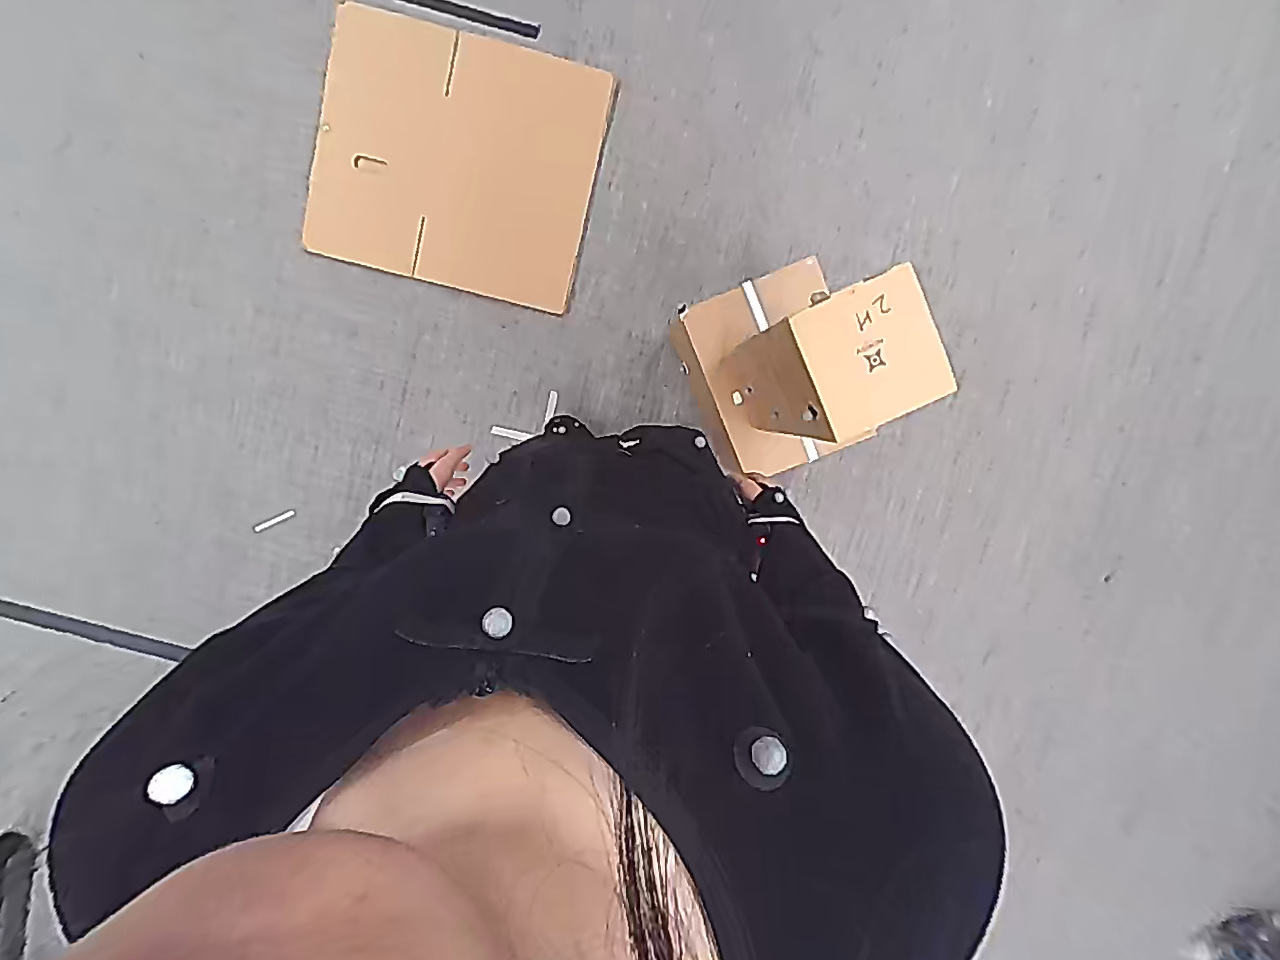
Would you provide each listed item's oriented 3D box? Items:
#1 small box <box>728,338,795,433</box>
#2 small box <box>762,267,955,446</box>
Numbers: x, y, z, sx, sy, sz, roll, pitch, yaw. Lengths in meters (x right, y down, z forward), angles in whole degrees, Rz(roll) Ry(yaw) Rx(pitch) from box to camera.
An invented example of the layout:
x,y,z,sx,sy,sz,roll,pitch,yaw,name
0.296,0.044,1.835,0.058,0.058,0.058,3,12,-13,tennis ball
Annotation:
x,y,z,sx,sy,sz,roll,pitch,yaw,name
0.290,-0.206,1.079,0.168,0.176,0.179,-25,98,3,small box
0.290,-0.164,0.752,0.168,0.176,0.179,-24,97,2,small box
